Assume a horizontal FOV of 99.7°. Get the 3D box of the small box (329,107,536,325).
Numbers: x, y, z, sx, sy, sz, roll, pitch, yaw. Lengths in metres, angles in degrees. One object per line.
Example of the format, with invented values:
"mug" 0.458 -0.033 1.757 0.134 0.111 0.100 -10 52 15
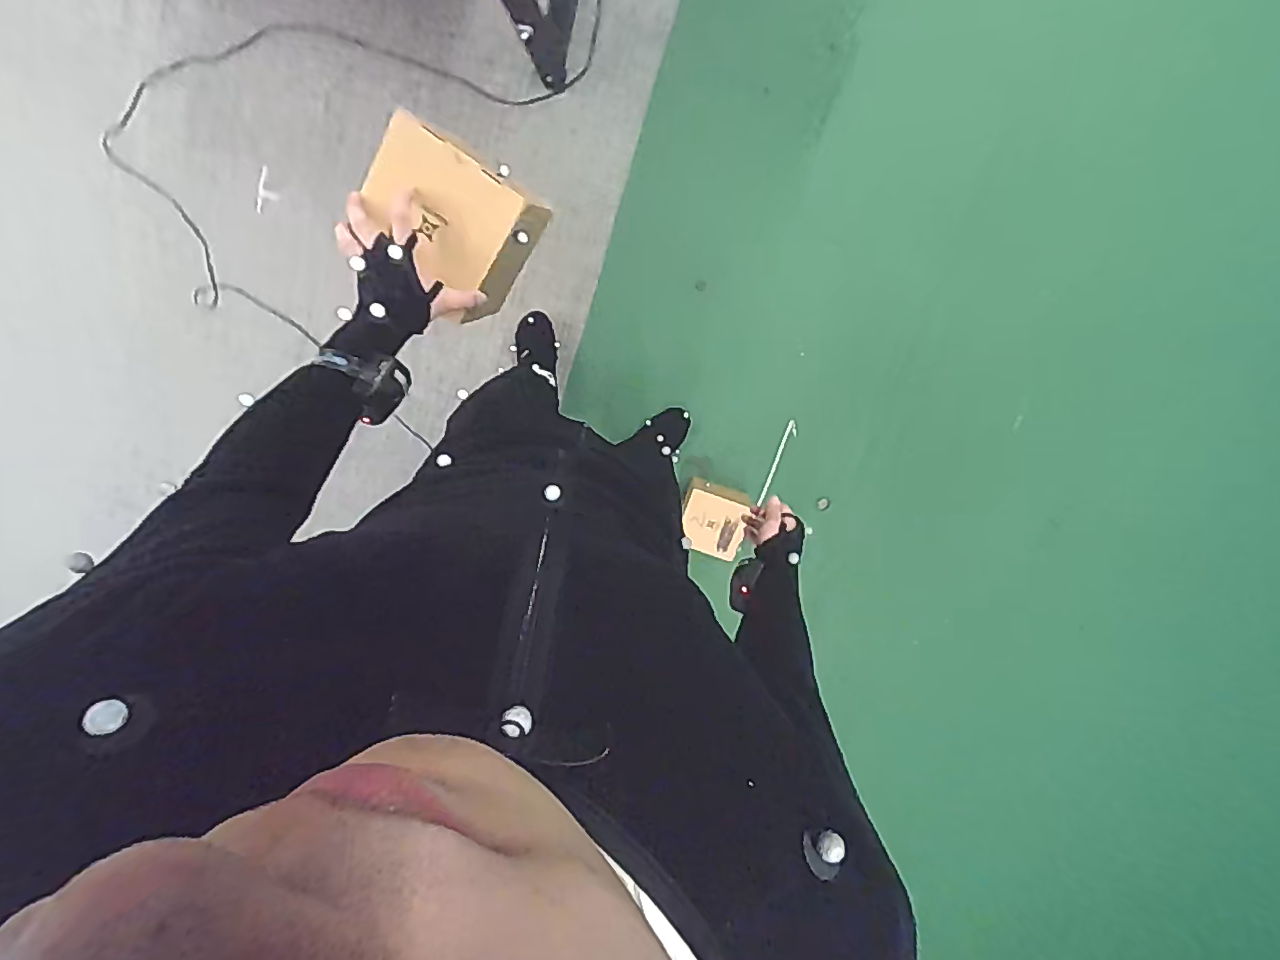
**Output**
"small box" -0.254 -0.328 0.702 0.168 0.176 0.179 32 110 -10
